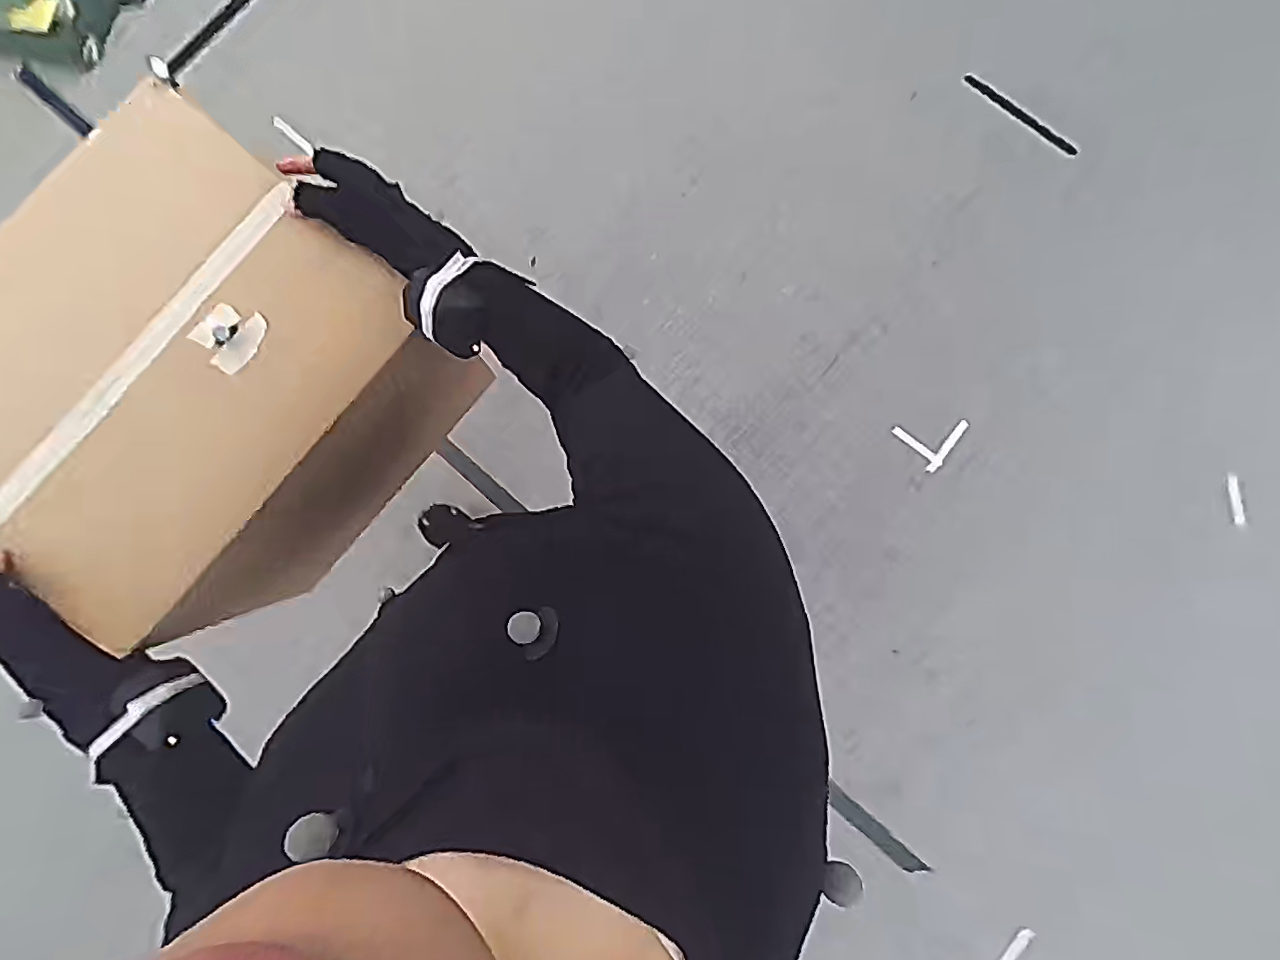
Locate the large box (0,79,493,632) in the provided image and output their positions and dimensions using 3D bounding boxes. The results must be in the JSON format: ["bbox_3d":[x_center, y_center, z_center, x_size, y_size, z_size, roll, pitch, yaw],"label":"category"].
[{"bbox_3d":[-0.437,-0.107,0.624,0.320,0.320,0.408,40,85,-4],"label":"large box"}]
